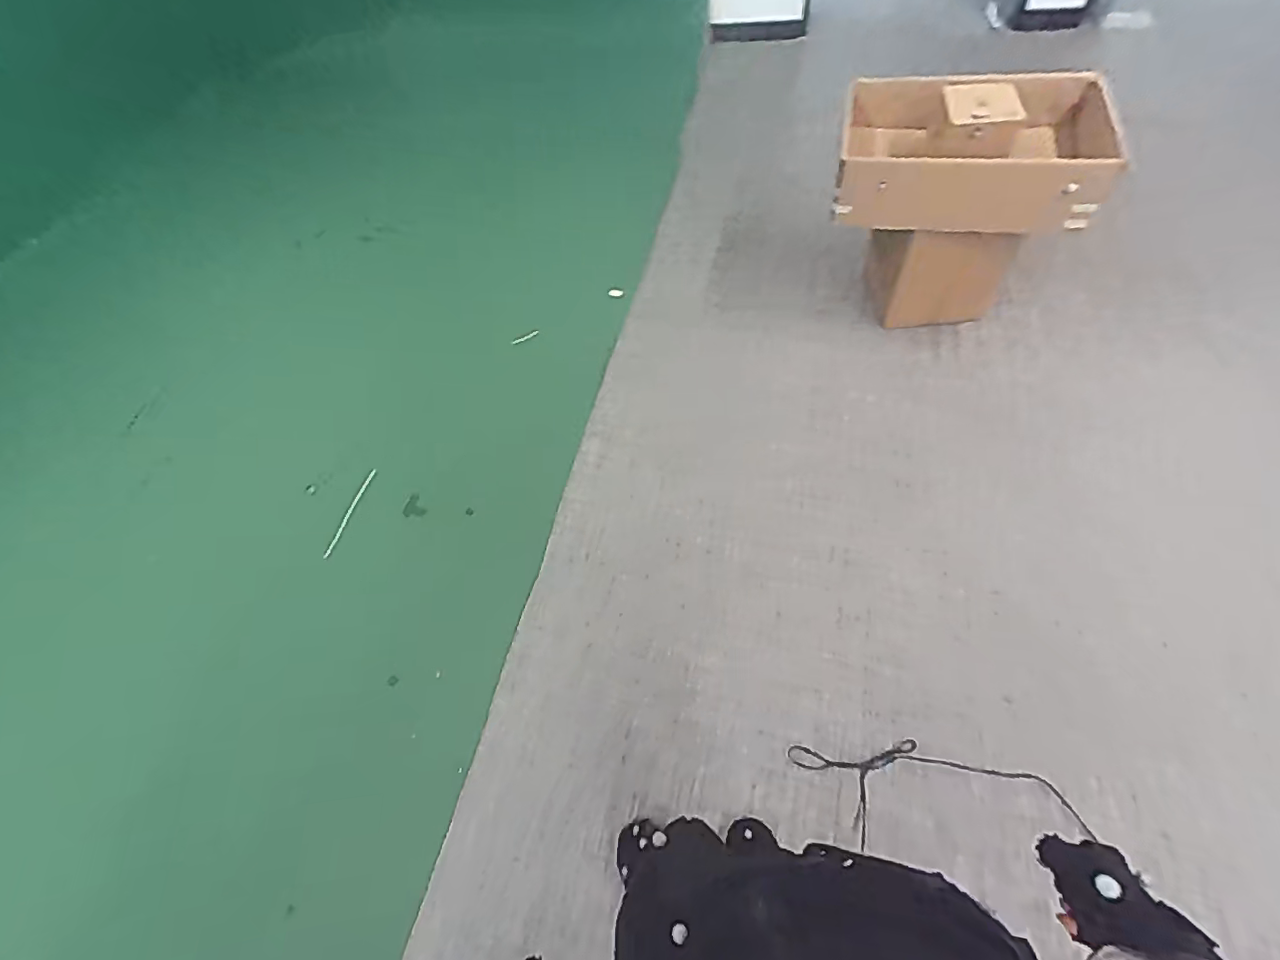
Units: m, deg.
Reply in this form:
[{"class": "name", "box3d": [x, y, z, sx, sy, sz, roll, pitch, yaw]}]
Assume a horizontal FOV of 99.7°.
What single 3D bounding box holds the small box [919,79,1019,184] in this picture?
[{"class": "small box", "box3d": [0.843, -0.902, 1.407, 0.168, 0.176, 0.179, 1, 60, 11]}]
